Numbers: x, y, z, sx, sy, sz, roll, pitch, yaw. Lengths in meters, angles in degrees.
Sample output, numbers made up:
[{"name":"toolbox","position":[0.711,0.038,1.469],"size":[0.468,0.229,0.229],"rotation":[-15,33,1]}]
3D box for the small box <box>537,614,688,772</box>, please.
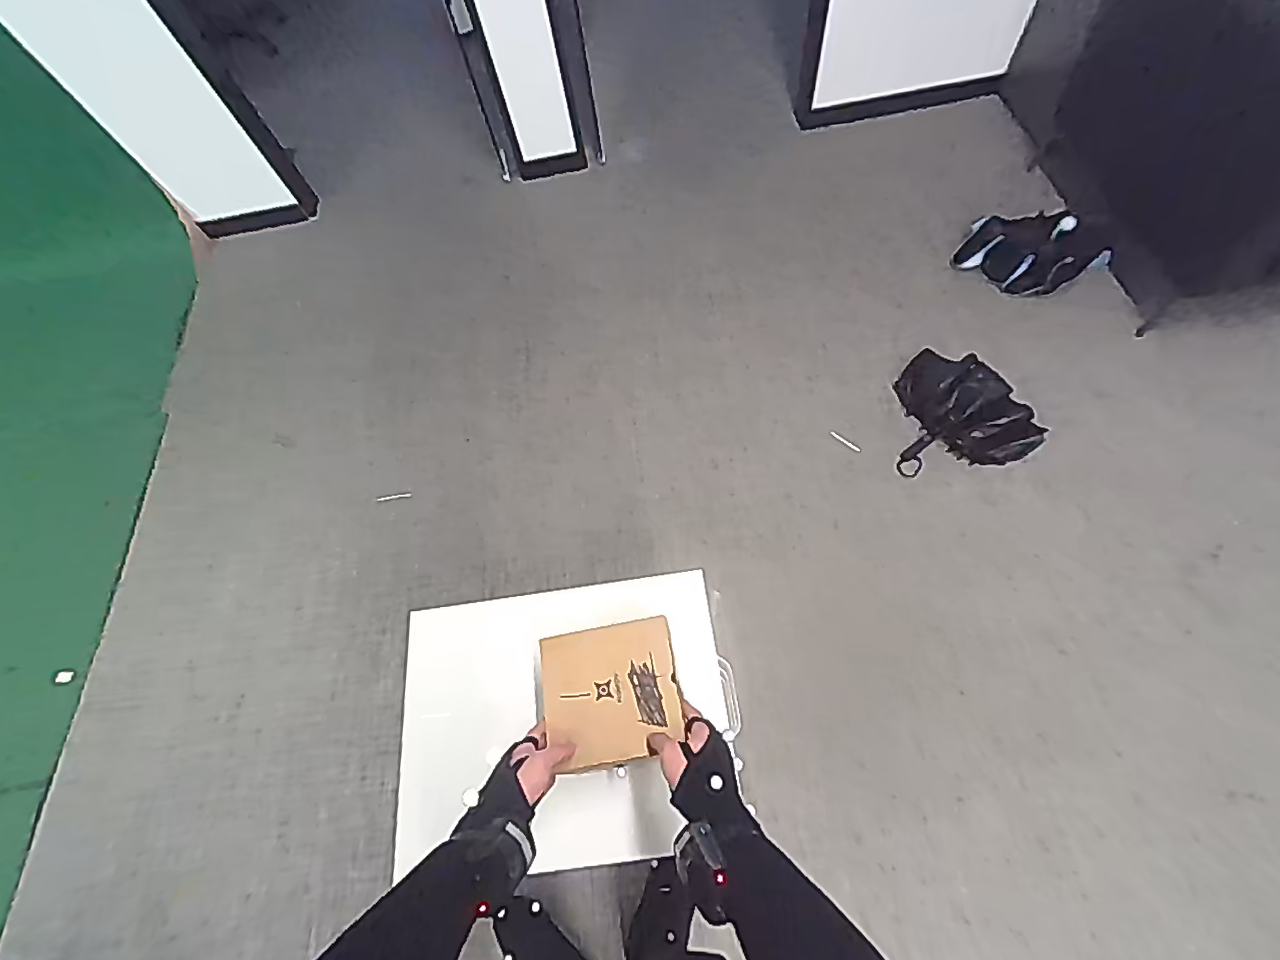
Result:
[{"name":"small box","position":[-0.034,0.297,0.743],"size":[0.179,0.176,0.168],"rotation":[-10,60,0]}]
